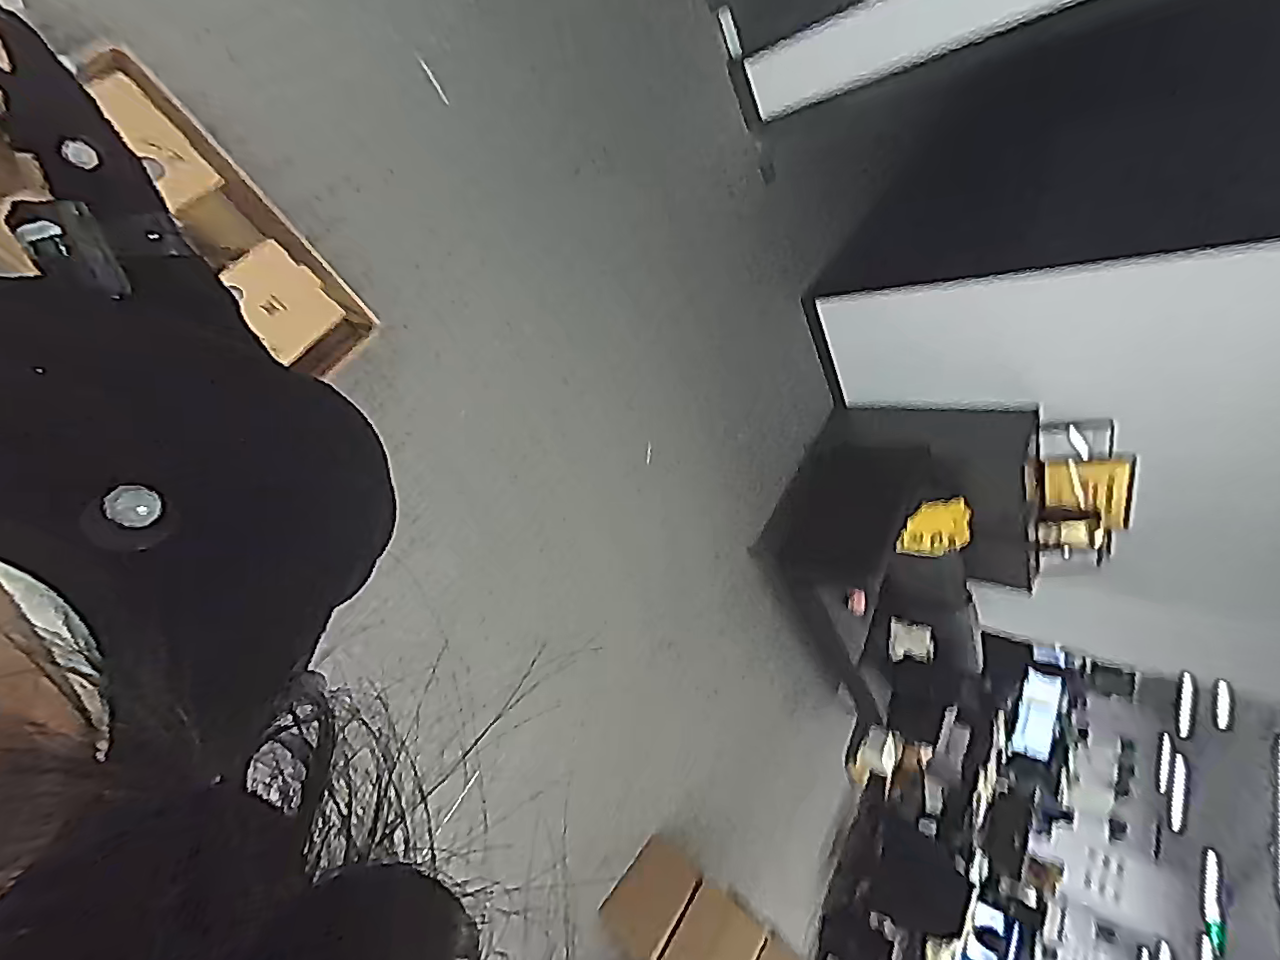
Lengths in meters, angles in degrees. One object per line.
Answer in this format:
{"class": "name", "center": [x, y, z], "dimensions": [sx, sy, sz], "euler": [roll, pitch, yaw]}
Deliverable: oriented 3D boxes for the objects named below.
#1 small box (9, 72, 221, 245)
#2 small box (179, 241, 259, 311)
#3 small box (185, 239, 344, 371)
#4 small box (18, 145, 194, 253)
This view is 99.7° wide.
{"class": "small box", "center": [-0.835, -0.505, 0.873], "dimensions": [0.179, 0.176, 0.168], "euler": [-54, 132, -25]}
{"class": "small box", "center": [-0.825, -0.369, 1.148], "dimensions": [0.179, 0.176, 0.168], "euler": [50, 62, -40]}
{"class": "small box", "center": [-0.718, -0.326, 1.031], "dimensions": [0.179, 0.176, 0.168], "euler": [-56, 131, -24]}
{"class": "small box", "center": [-0.953, -0.540, 0.982], "dimensions": [0.168, 0.176, 0.179], "euler": [-57, 134, -22]}
